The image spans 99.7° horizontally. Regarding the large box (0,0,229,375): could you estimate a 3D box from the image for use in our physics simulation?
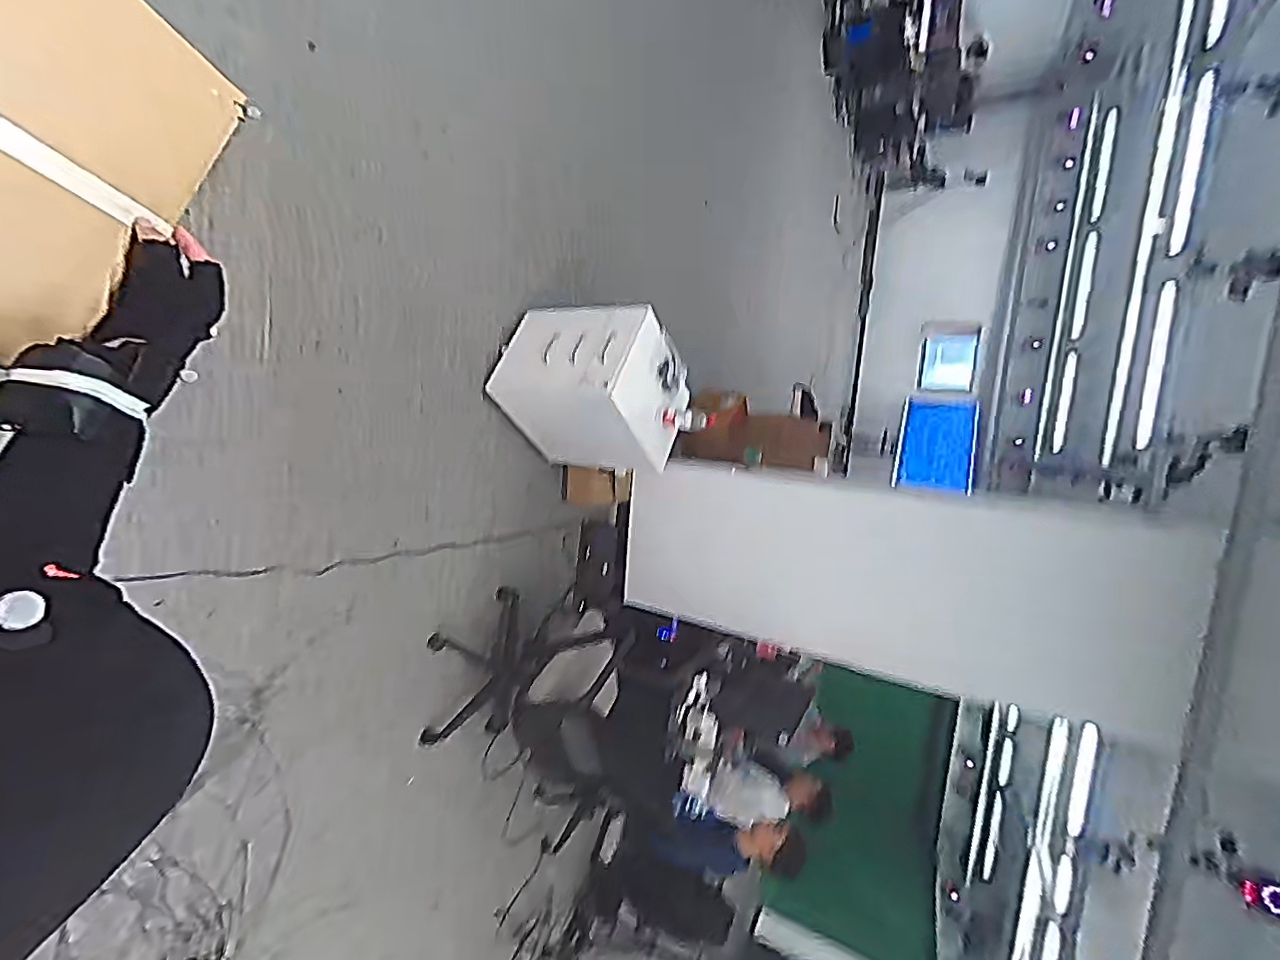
[{"bbox_3d":[-0.639,-0.318,0.374,0.320,0.320,0.408,-69,155,-9],"label":"large box"}]
